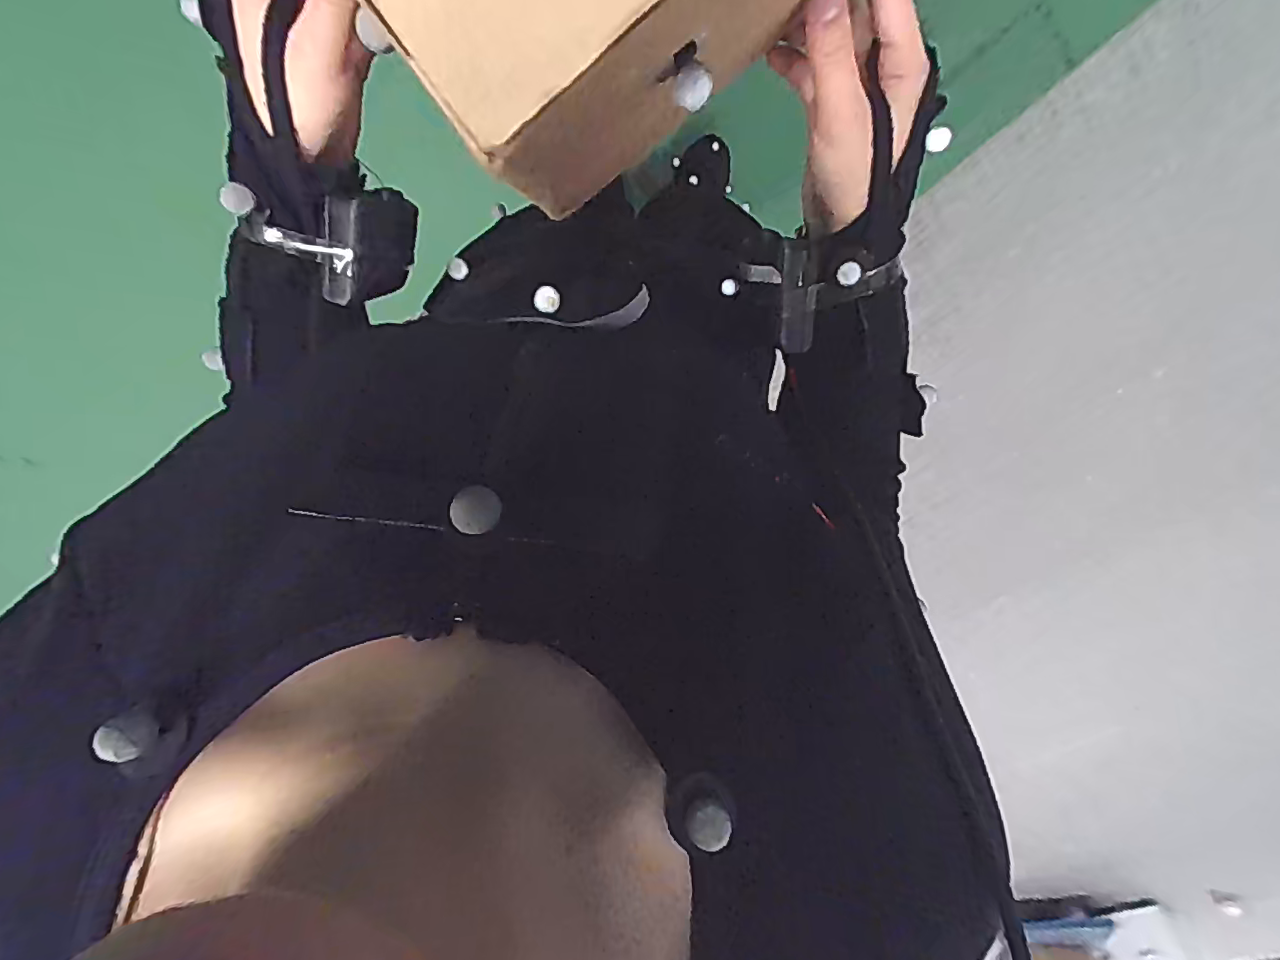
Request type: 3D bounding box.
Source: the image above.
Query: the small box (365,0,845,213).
[{"bbox_3d":[-0.013,-0.217,0.181,0.179,0.176,0.168,-33,108,12],"label":"small box"}]
